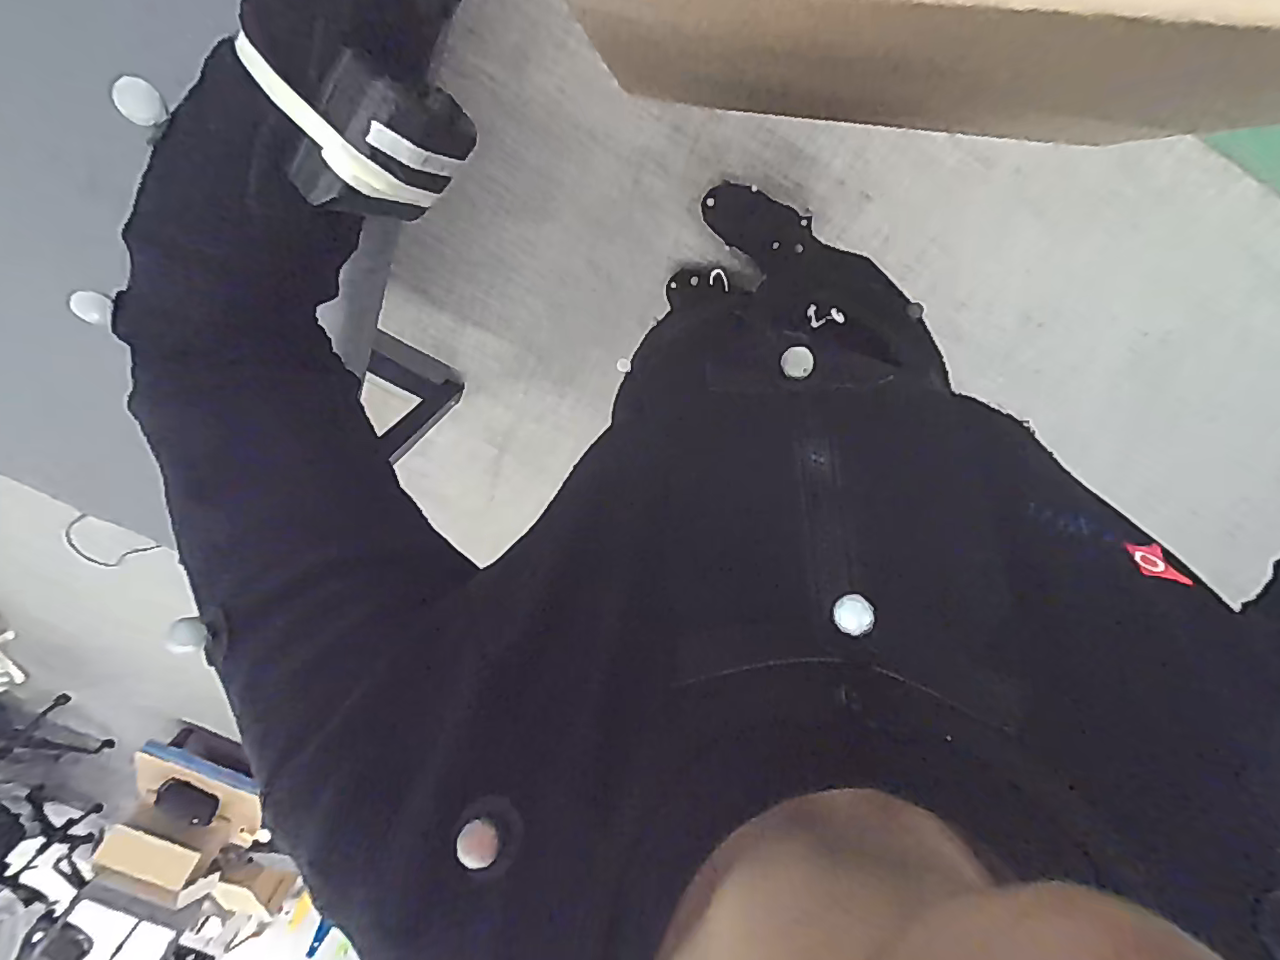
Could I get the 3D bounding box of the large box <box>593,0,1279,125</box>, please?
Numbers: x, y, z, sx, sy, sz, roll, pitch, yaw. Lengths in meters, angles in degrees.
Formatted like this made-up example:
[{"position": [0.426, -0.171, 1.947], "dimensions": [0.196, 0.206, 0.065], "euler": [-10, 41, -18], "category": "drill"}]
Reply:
[{"position": [0.184, -0.377, 0.250], "dimensions": [0.408, 0.320, 0.320], "euler": [6, 118, 1], "category": "large box"}]
